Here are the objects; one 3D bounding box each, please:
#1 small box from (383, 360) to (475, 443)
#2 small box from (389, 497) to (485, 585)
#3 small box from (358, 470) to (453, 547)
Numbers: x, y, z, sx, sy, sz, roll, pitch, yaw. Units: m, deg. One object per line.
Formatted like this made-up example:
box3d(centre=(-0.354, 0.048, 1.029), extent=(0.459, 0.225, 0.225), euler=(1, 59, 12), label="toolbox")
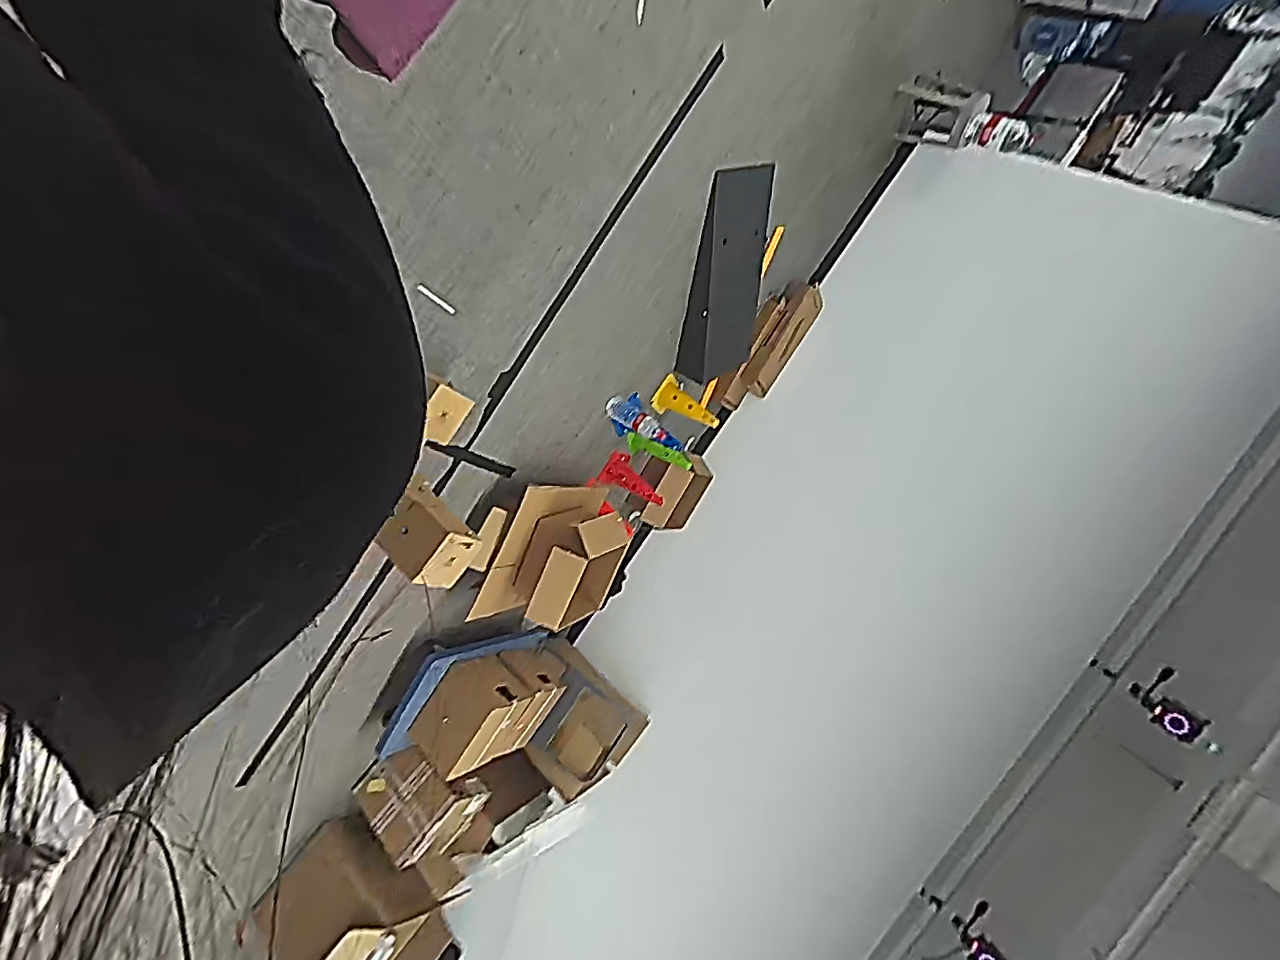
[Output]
box3d(centre=(-0.667, -0.249, 1.702), extent=(0.179, 0.176, 0.168), euler=(-55, 156, 2), label="small box")
box3d(centre=(-0.600, 0.180, 1.580), extent=(0.179, 0.176, 0.168), euler=(-52, 155, -1), label="small box")
box3d(centre=(-0.719, 0.093, 1.652), extent=(0.179, 0.176, 0.168), euler=(-54, 155, 1), label="small box")
